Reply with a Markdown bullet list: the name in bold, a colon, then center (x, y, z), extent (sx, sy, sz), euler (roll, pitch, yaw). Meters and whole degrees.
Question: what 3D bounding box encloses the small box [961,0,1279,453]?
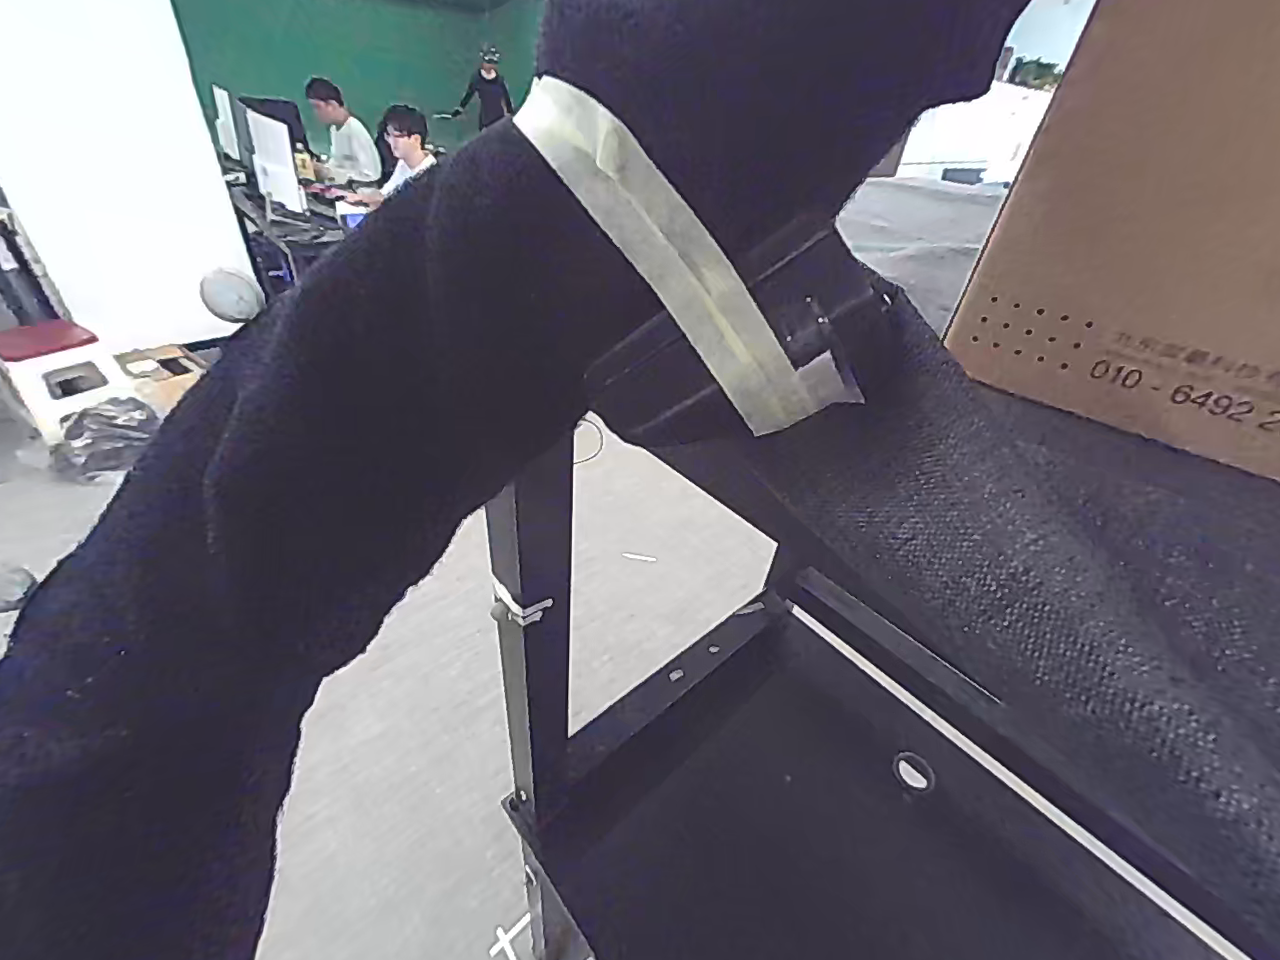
- **small box**: center (0.226, -0.107, 0.155), extent (0.168, 0.176, 0.179), euler (30, 41, 28)
